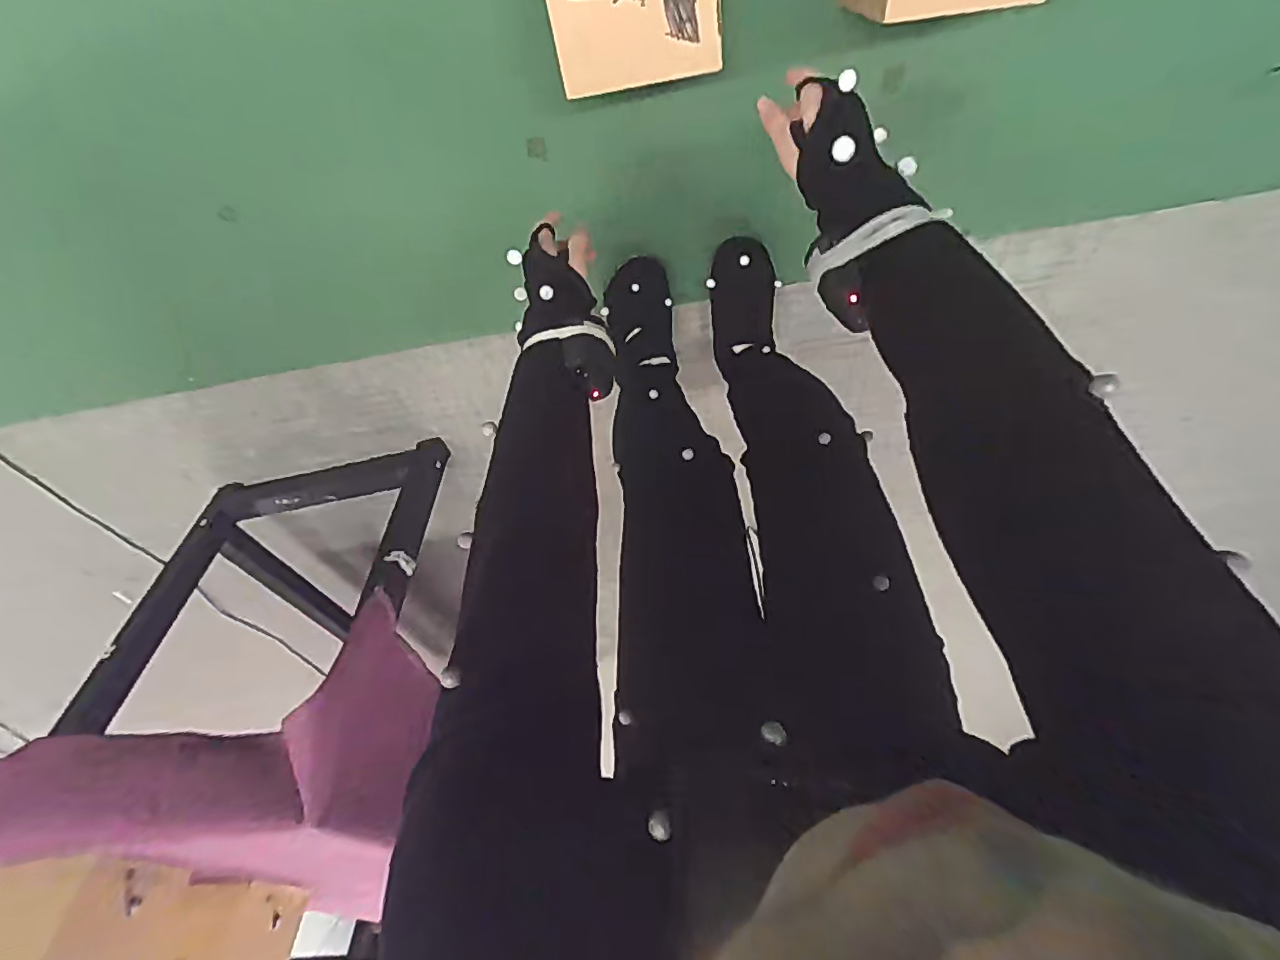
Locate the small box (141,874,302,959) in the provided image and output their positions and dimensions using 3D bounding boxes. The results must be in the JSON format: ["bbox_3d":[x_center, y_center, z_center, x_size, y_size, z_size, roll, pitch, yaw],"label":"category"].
[{"bbox_3d":[-0.761,0.830,0.972,0.179,0.176,0.168,-11,136,8],"label":"small box"}]

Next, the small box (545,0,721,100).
[{"bbox_3d":[-0.011,-0.548,0.594,0.179,0.176,0.168,-6,136,7],"label":"small box"}]

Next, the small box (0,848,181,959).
[{"bbox_3d":[-0.818,0.640,0.762,0.179,0.176,0.168,-11,137,5],"label":"small box"}]
